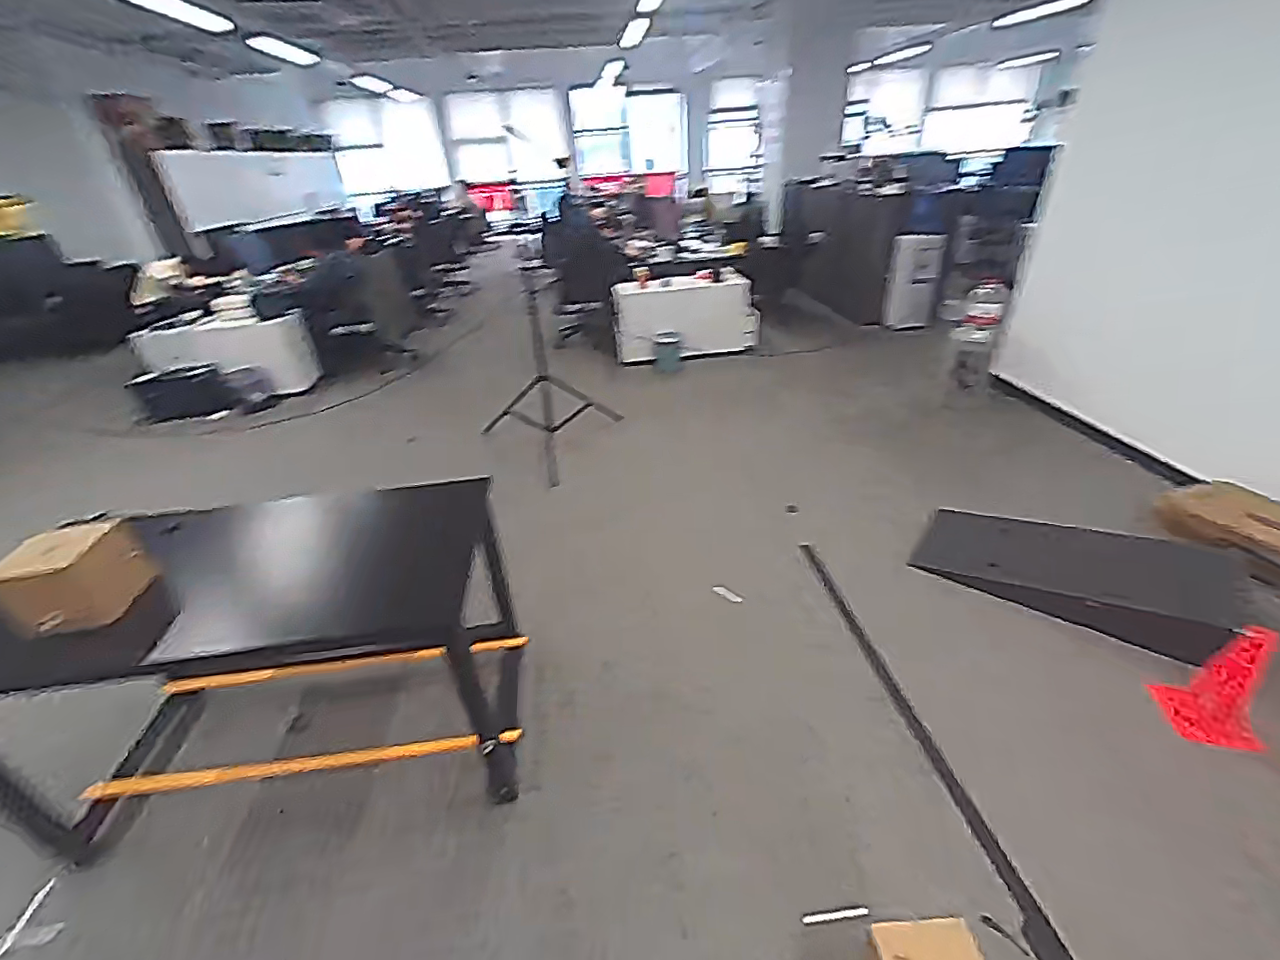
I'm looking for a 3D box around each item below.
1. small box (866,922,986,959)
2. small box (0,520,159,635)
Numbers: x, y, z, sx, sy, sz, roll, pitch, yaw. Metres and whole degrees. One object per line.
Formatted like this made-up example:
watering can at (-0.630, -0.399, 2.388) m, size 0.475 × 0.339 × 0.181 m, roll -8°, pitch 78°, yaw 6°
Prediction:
small box at (0.515, 0.914, 0.952) m, size 0.179 × 0.176 × 0.168 m, roll -4°, pitch 31°, yaw 1°
small box at (-1.242, 0.217, 1.216) m, size 0.168 × 0.176 × 0.179 m, roll -10°, pitch 32°, yaw -8°
